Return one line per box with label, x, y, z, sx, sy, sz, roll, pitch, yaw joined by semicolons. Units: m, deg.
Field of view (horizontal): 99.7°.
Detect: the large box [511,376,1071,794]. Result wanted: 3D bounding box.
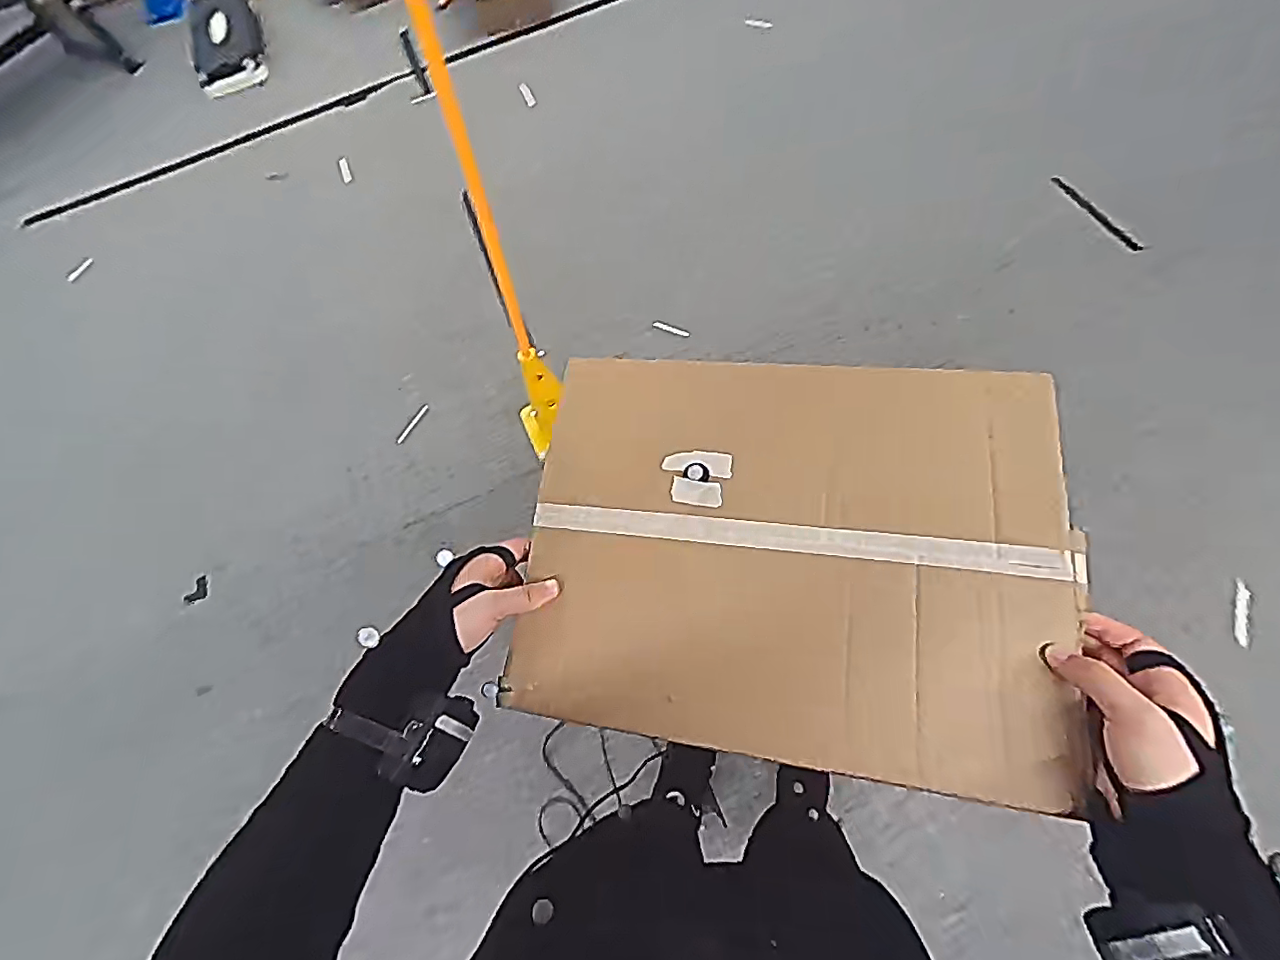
large box;0.136;0.103;0.577;0.408;0.320;0.320;3;70;14
